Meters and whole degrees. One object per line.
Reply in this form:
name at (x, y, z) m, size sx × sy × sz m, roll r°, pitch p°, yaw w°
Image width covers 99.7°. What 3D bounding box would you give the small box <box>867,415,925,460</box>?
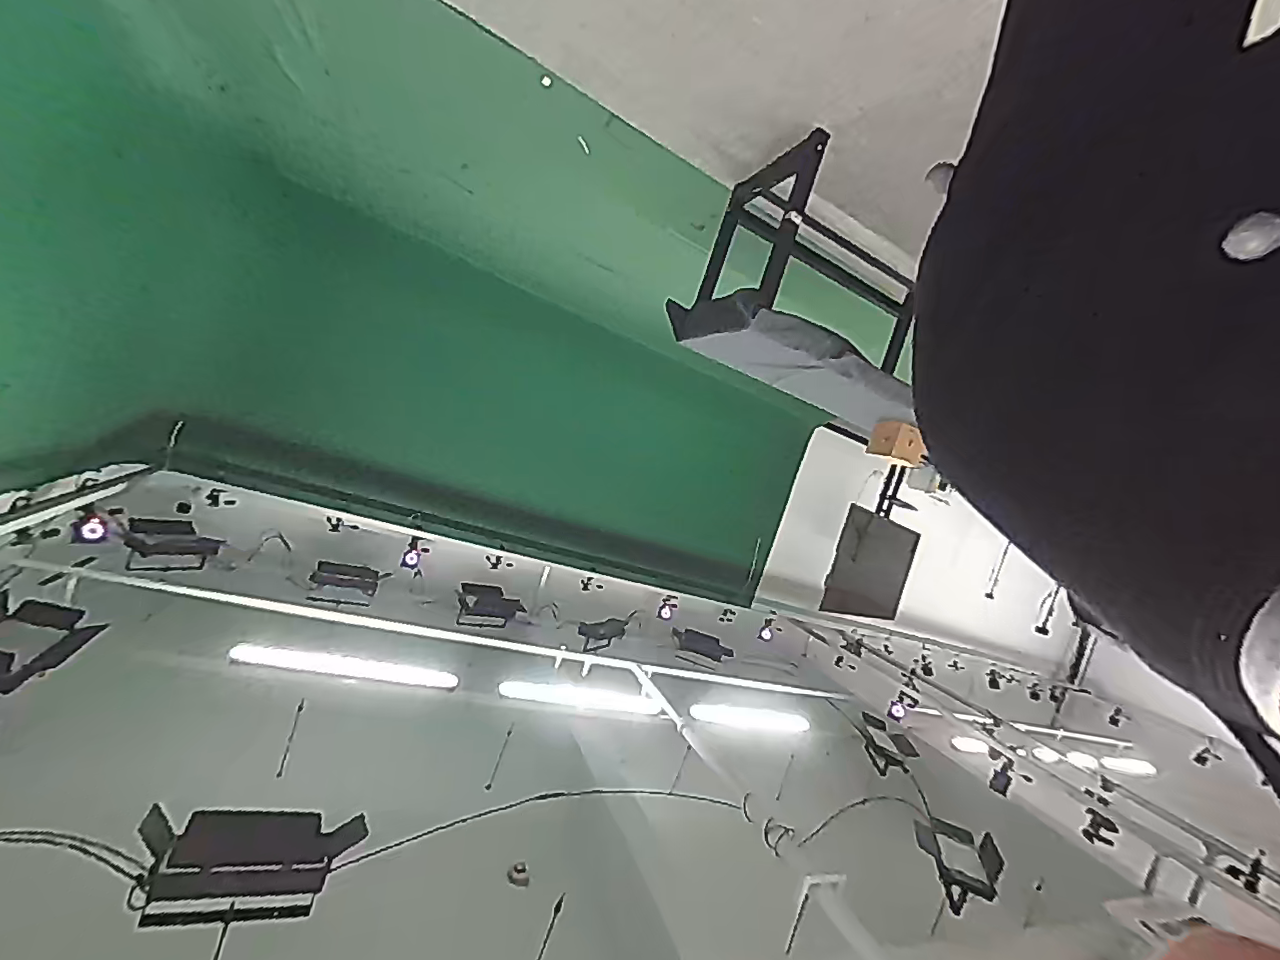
small box at (1.223, -0.205, 2.568) m, size 0.168 × 0.176 × 0.179 m, roll 19°, pitch -179°, yaw -19°
